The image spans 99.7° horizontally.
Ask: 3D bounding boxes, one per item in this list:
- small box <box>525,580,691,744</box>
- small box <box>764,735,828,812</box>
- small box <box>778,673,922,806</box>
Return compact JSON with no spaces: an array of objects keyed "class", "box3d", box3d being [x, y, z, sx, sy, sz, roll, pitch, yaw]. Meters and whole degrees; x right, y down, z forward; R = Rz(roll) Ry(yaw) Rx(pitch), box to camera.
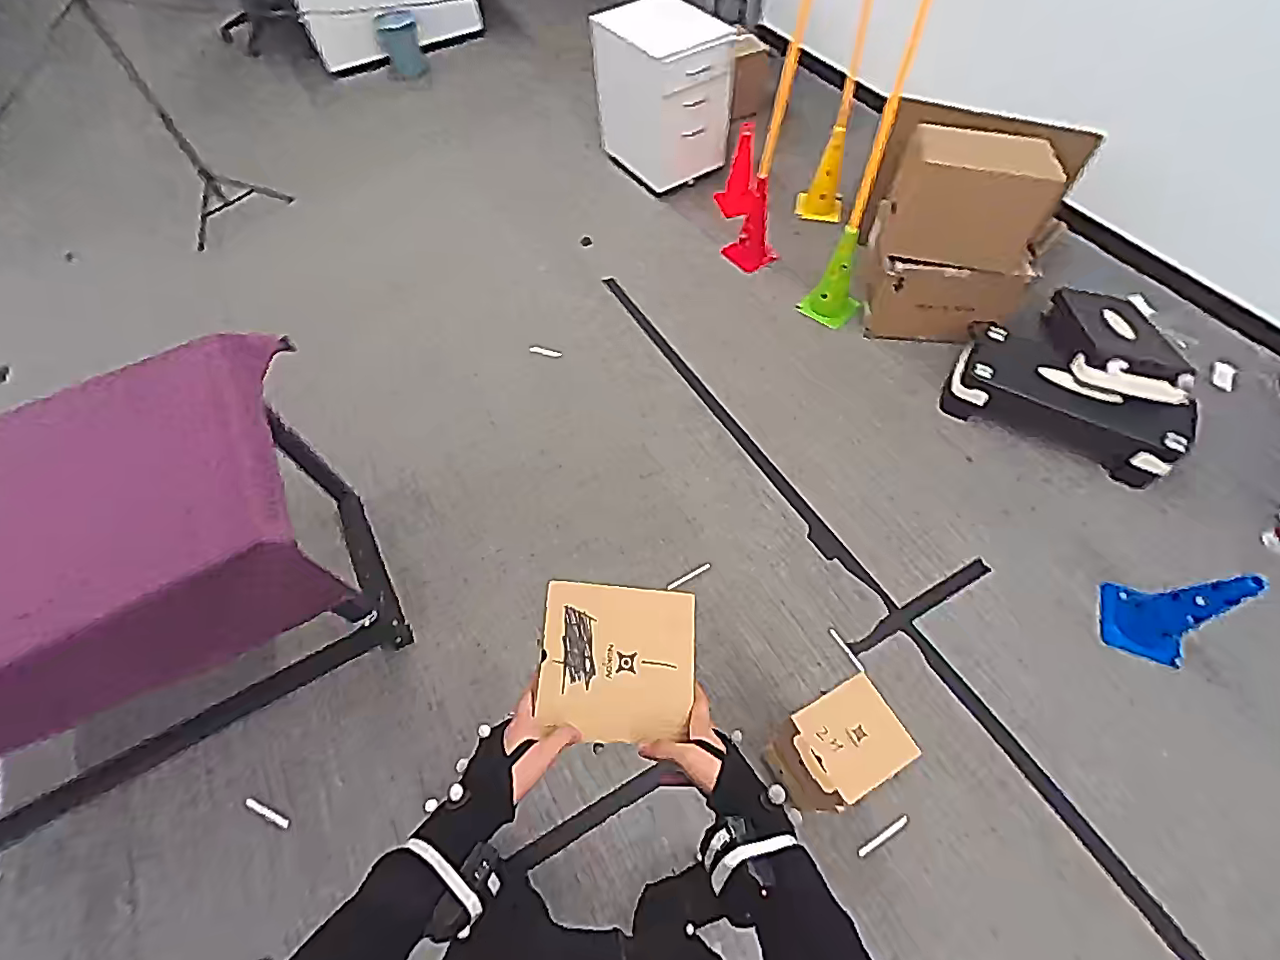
[{"class":"small box","box3d":[-0.039,0.229,0.669,0.179,0.176,0.168,5,67,-6]},{"class":"small box","box3d":[0.423,0.685,1.326,0.179,0.176,0.168,-30,63,-15]},{"class":"small box","box3d":[0.394,0.503,1.051,0.179,0.176,0.168,-25,62,-12]}]
